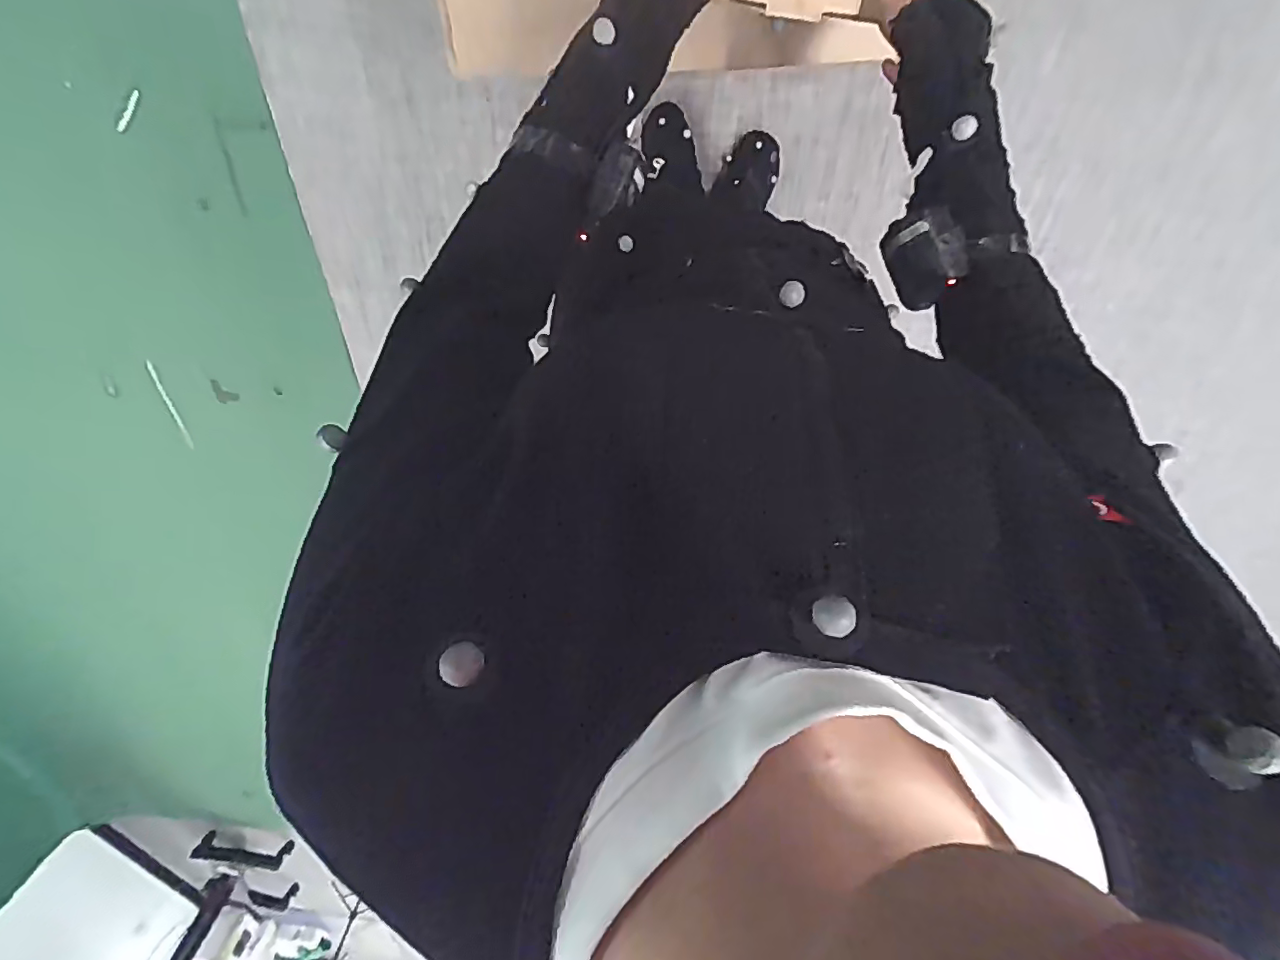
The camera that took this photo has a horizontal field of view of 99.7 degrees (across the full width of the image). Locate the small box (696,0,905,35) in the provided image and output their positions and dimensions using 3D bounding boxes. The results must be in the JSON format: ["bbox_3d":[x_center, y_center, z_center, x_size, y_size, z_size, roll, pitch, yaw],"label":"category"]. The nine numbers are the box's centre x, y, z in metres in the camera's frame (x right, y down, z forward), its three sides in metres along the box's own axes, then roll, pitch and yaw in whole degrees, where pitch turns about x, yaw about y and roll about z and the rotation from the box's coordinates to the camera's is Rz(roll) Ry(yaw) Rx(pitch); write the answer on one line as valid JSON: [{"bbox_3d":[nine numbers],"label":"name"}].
[{"bbox_3d":[0.143,-0.487,0.434,0.168,0.176,0.179,8,133,0],"label":"small box"}]

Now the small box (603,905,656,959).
[{"bbox_3d":[-0.035,1.582,1.842,0.168,0.176,0.179,2,127,6],"label":"small box"}]
